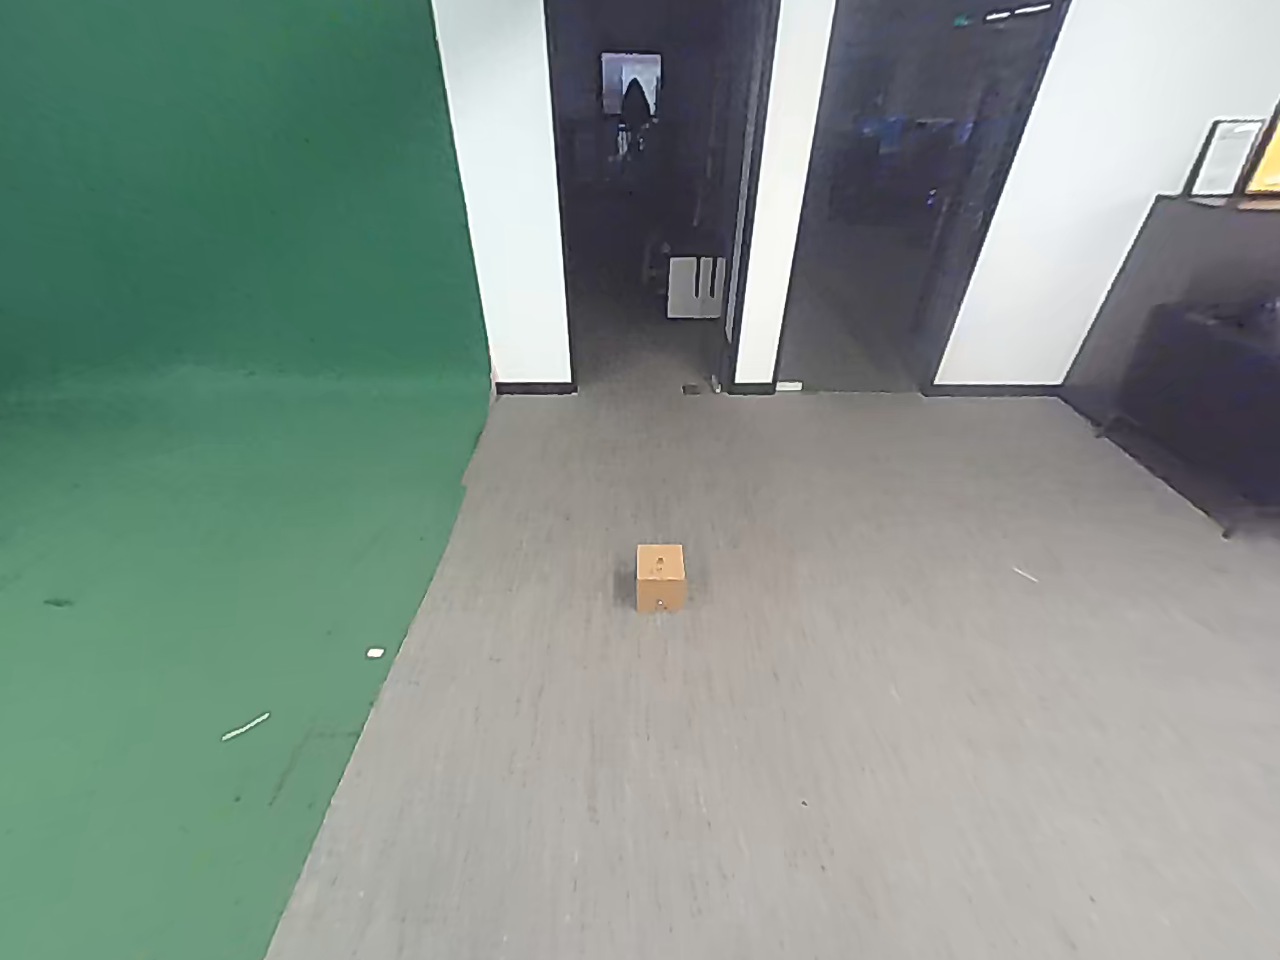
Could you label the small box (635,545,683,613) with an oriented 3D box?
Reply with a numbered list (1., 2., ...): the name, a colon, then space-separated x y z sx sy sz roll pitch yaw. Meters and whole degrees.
1. small box: 0.067 0.353 1.944 0.168 0.176 0.179 0 37 1
